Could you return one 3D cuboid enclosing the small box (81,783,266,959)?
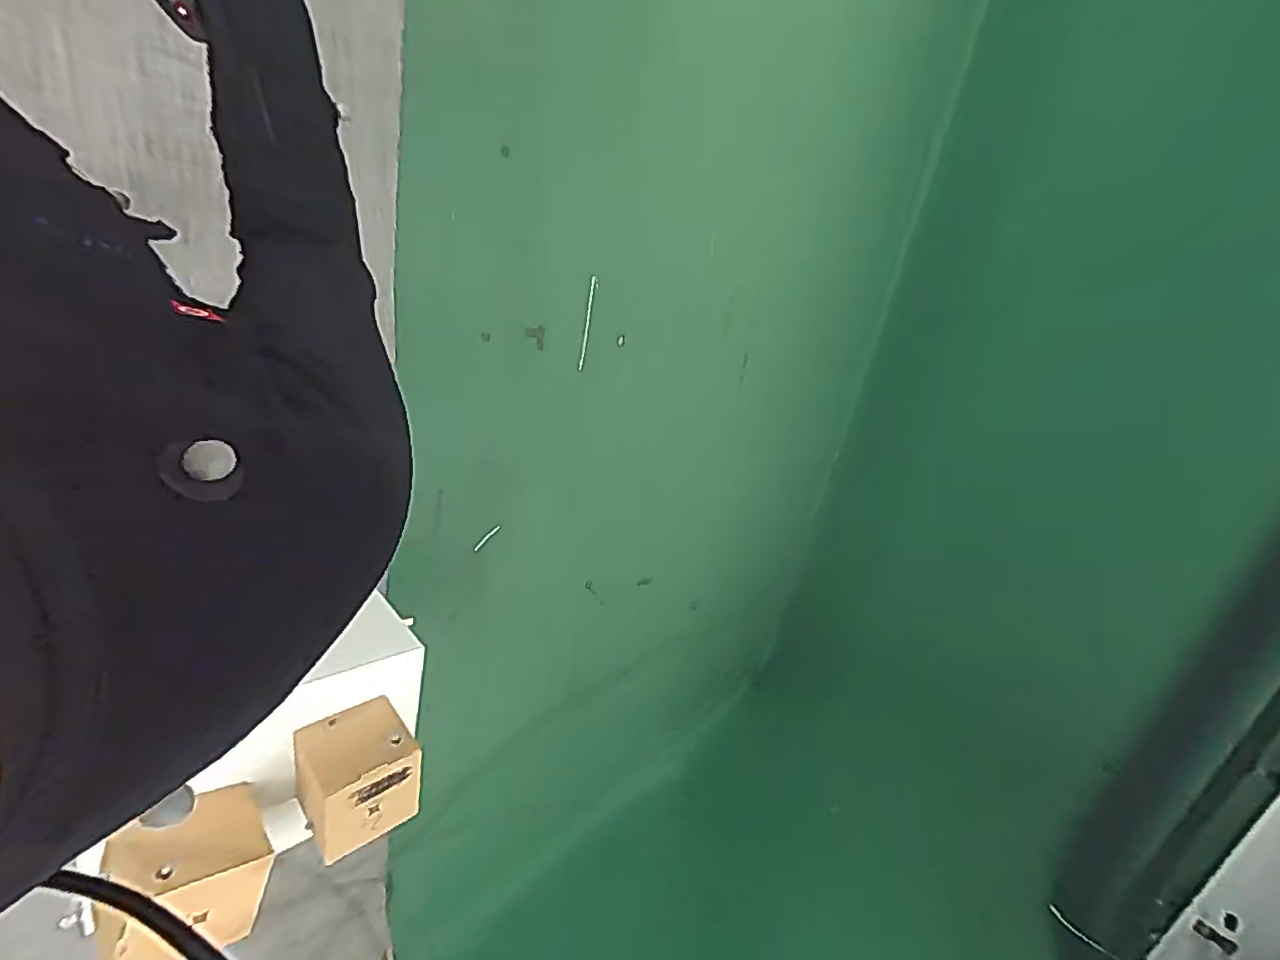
[{"bbox_3d":[-0.730,0.617,0.846,0.179,0.176,0.168,11,103,-52],"label":"small box"}]
